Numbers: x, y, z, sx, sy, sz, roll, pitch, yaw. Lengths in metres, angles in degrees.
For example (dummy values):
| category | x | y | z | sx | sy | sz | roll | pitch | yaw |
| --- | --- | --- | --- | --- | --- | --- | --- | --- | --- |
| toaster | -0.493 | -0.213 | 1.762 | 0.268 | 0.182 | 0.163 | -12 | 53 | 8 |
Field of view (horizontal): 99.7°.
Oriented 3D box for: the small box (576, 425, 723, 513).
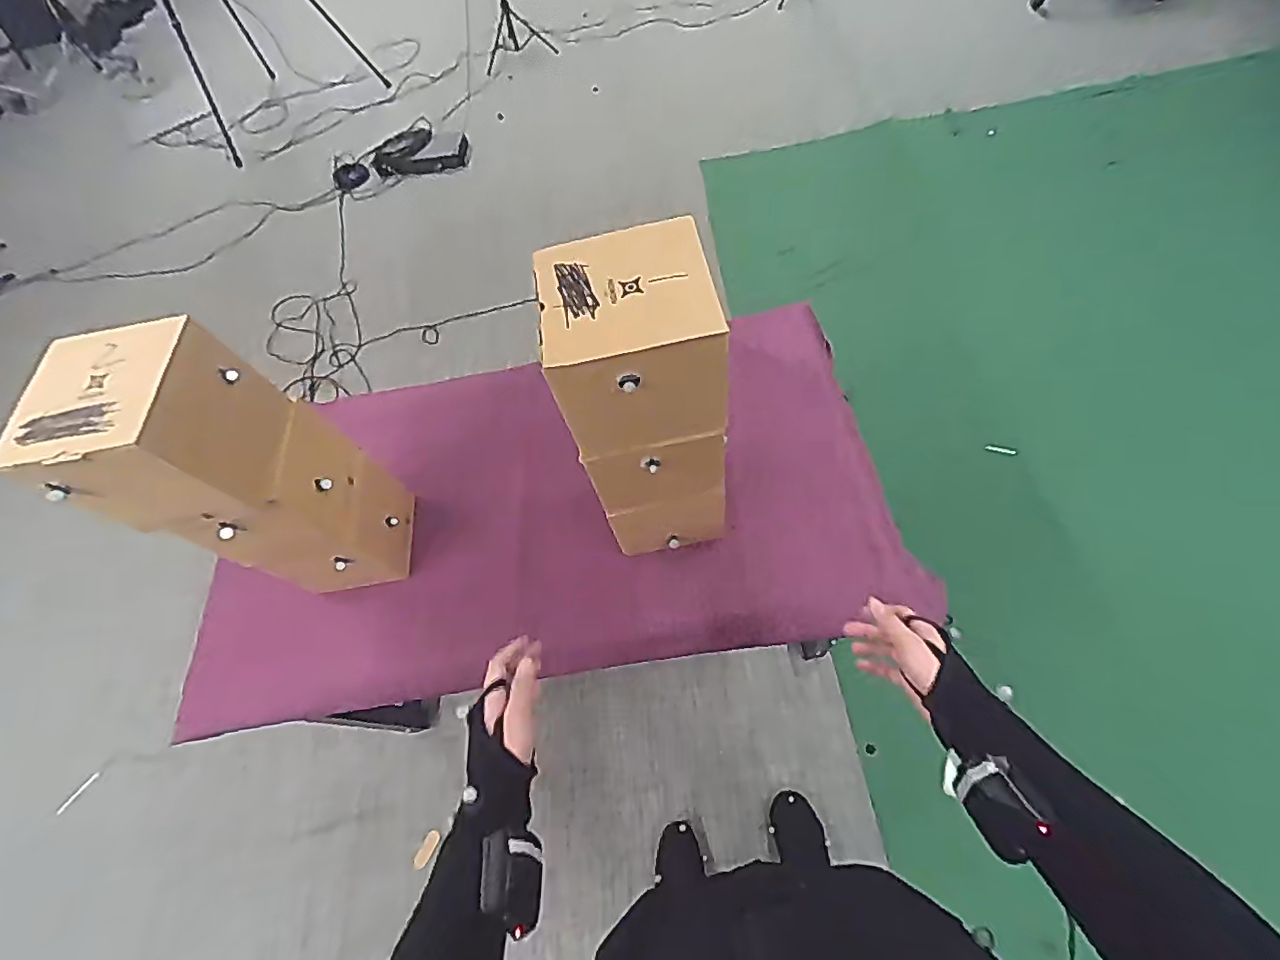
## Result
| category | x | y | z | sx | sy | sz | roll | pitch | yaw |
| --- | --- | --- | --- | --- | --- | --- | --- | --- | --- |
| small box | 0.014 | -0.068 | 0.749 | 0.179 | 0.176 | 0.168 | -11 | 62 | 4 |

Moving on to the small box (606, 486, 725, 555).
| category | x | y | z | sx | sy | sz | roll | pitch | yaw |
| --- | --- | --- | --- | --- | --- | --- | --- | --- | --- |
| small box | 0.036 | 0.010 | 0.892 | 0.179 | 0.176 | 0.168 | -12 | 61 | 3 |

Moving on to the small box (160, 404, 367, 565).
| category | x | y | z | sx | sy | sz | roll | pitch | yaw |
| --- | --- | --- | --- | --- | --- | --- | --- | --- | --- |
| small box | -0.533 | 0.013 | 0.797 | 0.179 | 0.176 | 0.168 | -11 | 62 | 4 |

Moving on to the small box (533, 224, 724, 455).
| category | x | y | z | sx | sy | sz | roll | pitch | yaw |
| --- | --- | --- | --- | --- | --- | --- | --- | --- | --- |
| small box | -0.008 | -0.146 | 0.607 | 0.179 | 0.176 | 0.168 | -11 | 62 | 3 |

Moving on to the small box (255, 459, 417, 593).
| category | x | y | z | sx | sy | sz | roll | pitch | yaw |
| --- | --- | --- | --- | --- | --- | --- | --- | --- | --- |
| small box | -0.511 | 0.086 | 0.940 | 0.179 | 0.176 | 0.168 | -10 | 61 | 3 |
